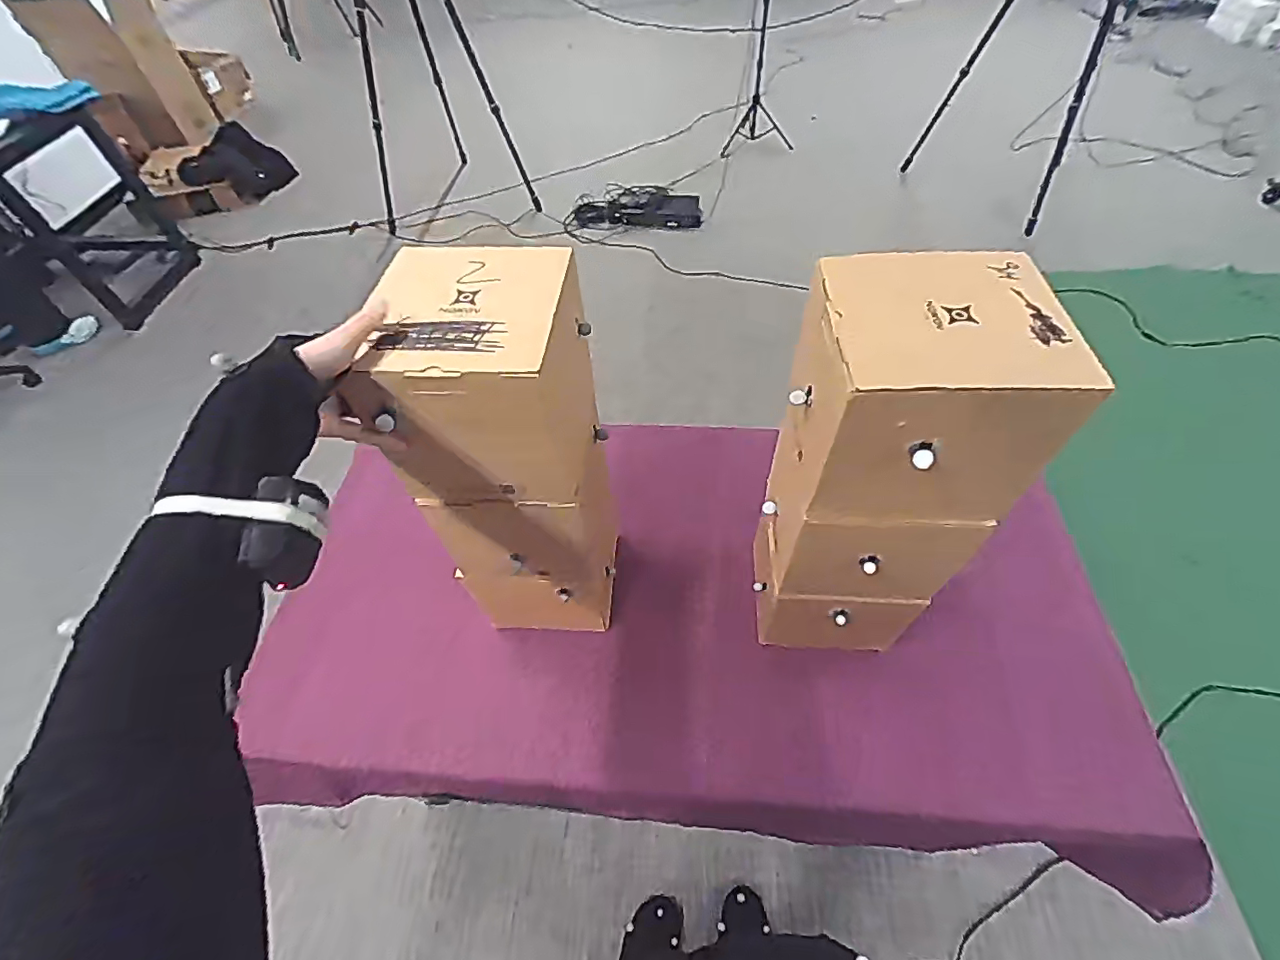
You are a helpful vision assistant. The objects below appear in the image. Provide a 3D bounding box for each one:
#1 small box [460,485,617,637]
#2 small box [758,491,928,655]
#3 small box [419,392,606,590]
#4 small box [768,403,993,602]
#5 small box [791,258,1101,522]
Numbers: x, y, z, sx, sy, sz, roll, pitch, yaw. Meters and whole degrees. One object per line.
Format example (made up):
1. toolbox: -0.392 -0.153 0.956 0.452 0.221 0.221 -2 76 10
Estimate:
1. small box: -0.132 0.117 0.779 0.179 0.176 0.168 0 52 3
2. small box: 0.258 0.129 0.740 0.179 0.176 0.168 2 53 5
3. small box: -0.134 0.014 0.650 0.168 0.176 0.179 0 53 4
4. small box: 0.248 0.028 0.611 0.179 0.176 0.168 0 53 6
5. small box: 0.237 -0.073 0.482 0.179 0.176 0.168 -1 53 5
